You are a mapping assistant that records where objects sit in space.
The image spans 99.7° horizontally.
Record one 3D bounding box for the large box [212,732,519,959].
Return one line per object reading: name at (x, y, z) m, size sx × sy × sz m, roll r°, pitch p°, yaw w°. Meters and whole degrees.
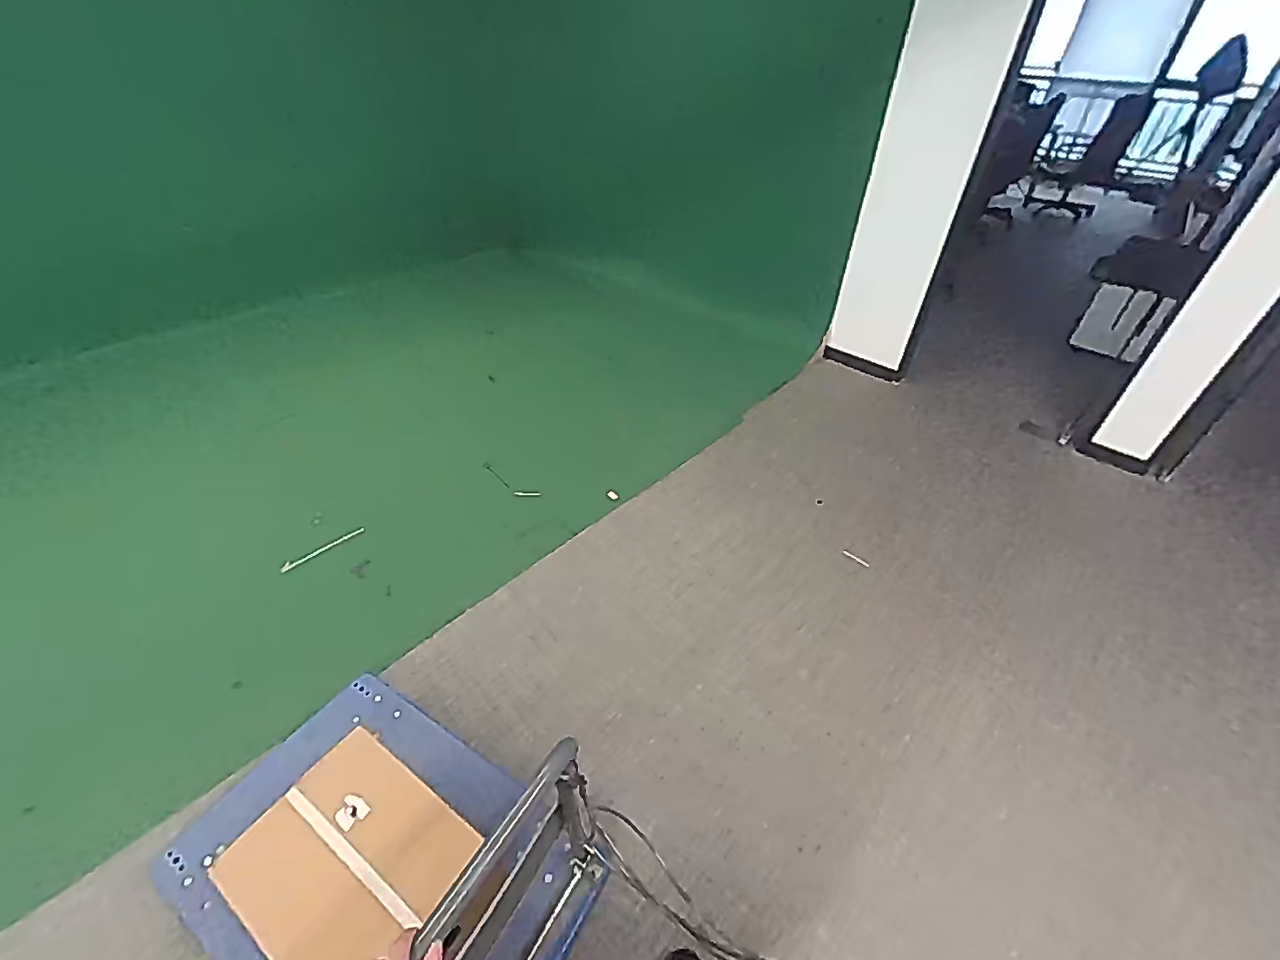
large box at (-0.506, 0.795, 1.063) m, size 0.408 × 0.320 × 0.320 m, roll 24°, pitch 46°, yaw 25°
